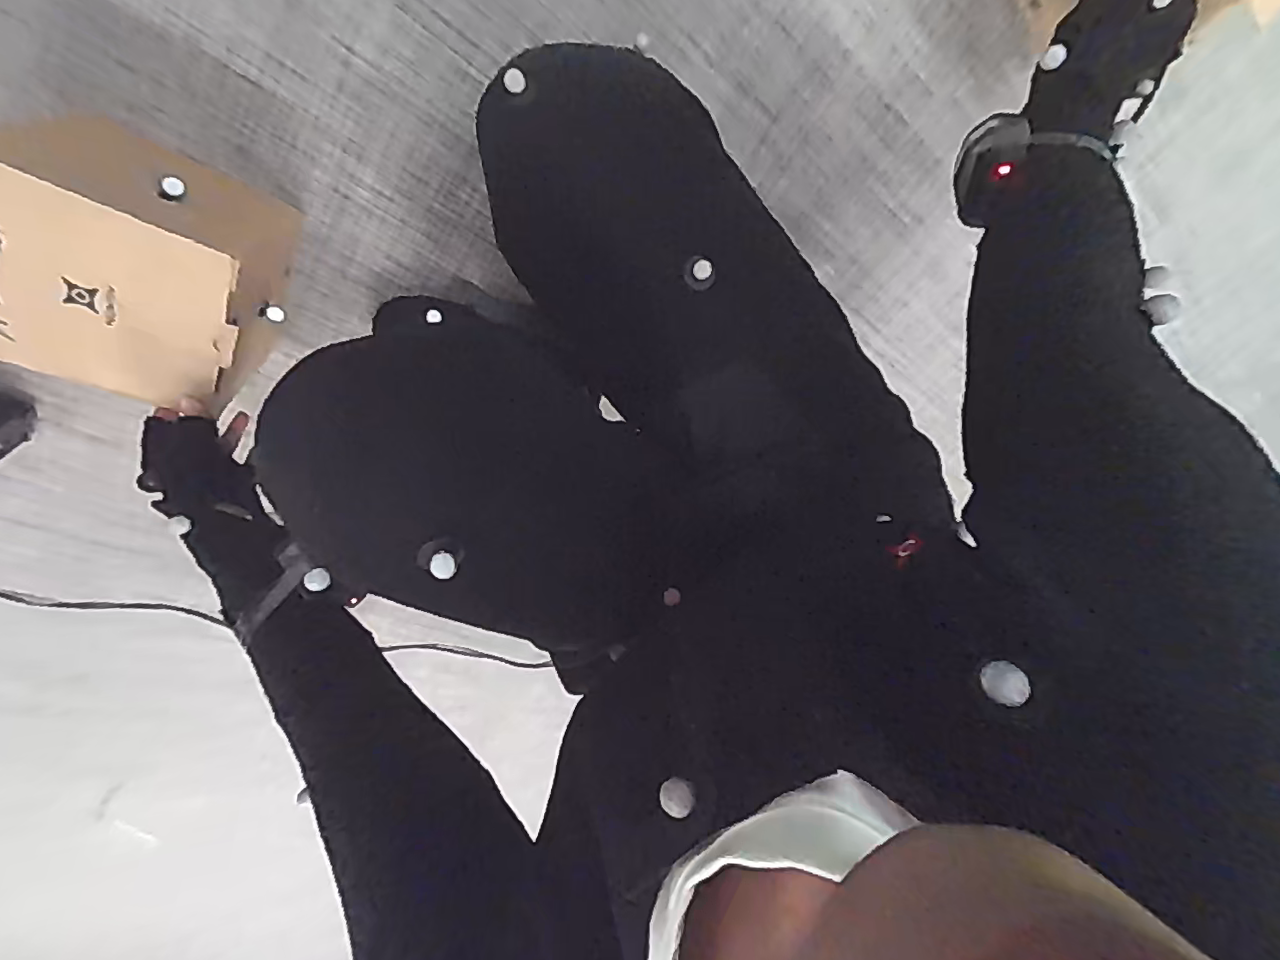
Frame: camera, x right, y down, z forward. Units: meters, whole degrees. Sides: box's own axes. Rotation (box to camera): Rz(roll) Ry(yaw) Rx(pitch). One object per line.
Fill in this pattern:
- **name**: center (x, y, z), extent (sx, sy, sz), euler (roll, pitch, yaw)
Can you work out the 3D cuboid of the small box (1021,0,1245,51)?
- **small box**: center (0.432, -0.492, 0.437), extent (0.168, 0.176, 0.179), euler (33, 112, -31)
